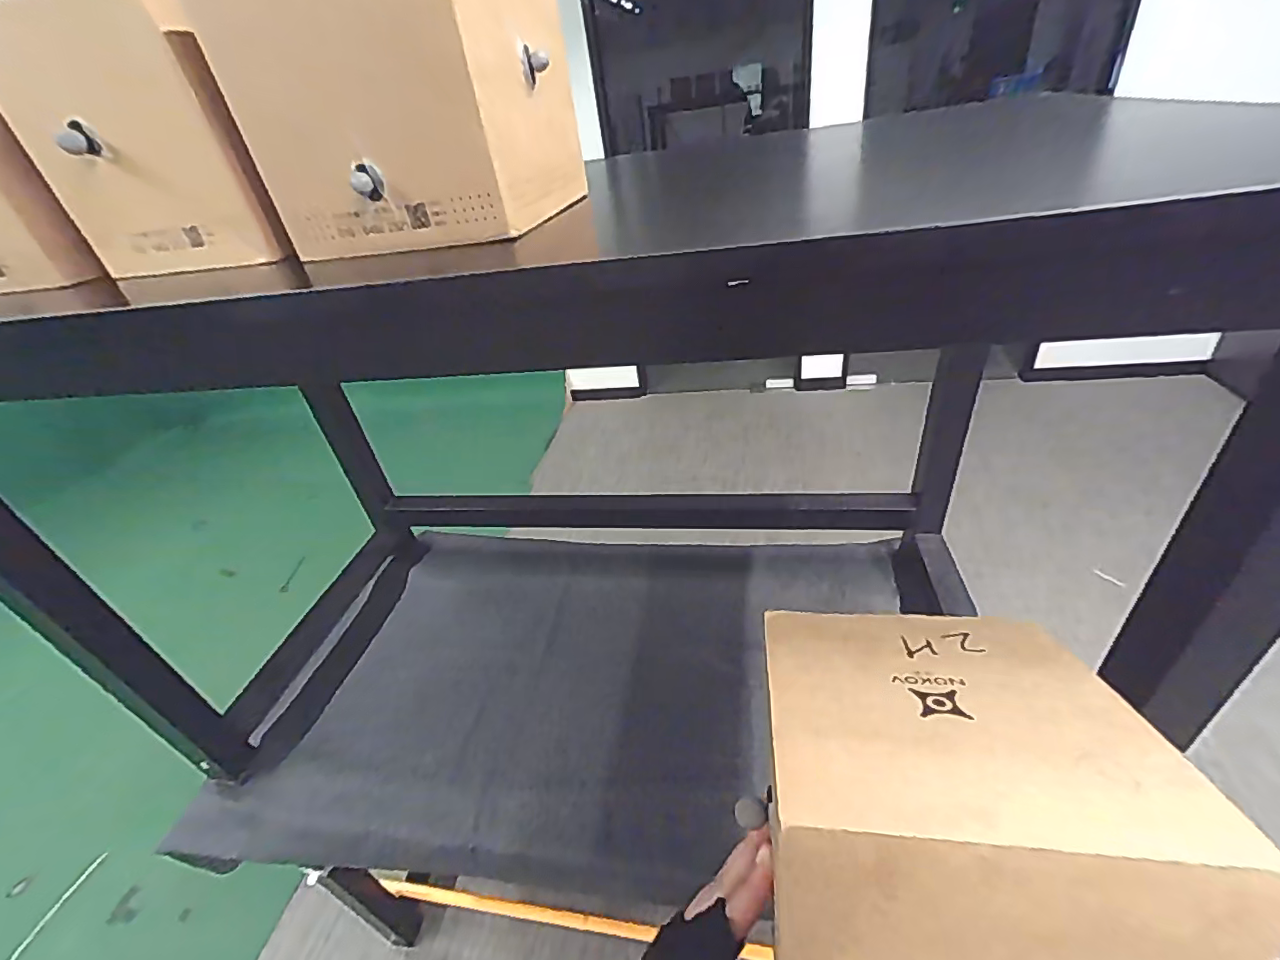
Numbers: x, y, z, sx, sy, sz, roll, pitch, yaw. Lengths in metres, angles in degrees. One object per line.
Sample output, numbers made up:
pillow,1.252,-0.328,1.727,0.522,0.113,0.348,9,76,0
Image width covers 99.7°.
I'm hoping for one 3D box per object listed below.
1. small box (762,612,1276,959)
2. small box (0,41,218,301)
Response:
small box,0.153,0.188,0.291,0.168,0.176,0.179,-1,14,11
small box,-0.530,-0.268,0.479,0.168,0.176,0.179,0,37,14
